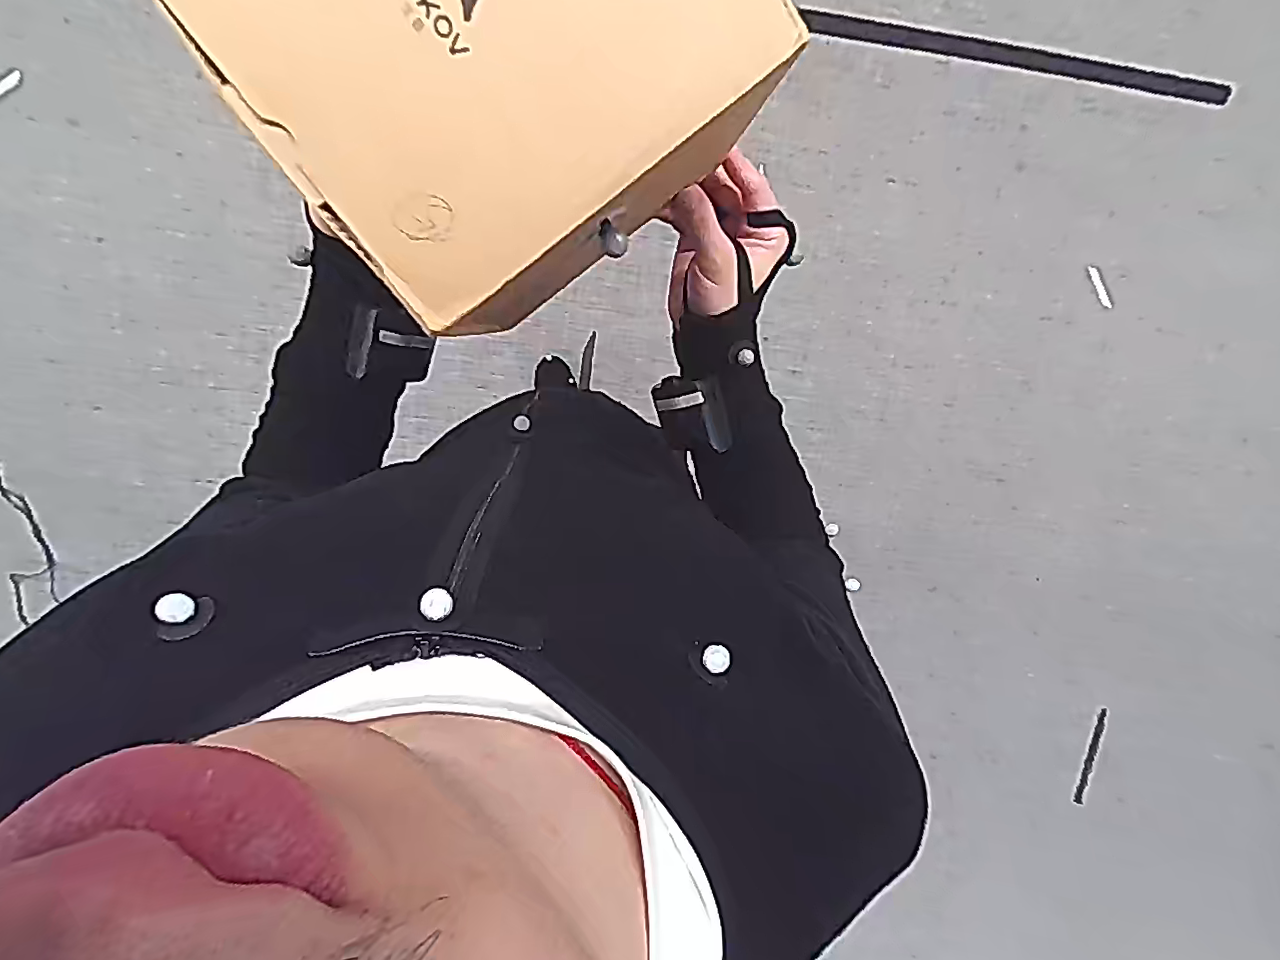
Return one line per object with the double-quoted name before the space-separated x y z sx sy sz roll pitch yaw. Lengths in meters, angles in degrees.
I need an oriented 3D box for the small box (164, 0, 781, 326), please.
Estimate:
"small box" -0.065 -0.194 0.268 0.179 0.176 0.168 -36 106 7
